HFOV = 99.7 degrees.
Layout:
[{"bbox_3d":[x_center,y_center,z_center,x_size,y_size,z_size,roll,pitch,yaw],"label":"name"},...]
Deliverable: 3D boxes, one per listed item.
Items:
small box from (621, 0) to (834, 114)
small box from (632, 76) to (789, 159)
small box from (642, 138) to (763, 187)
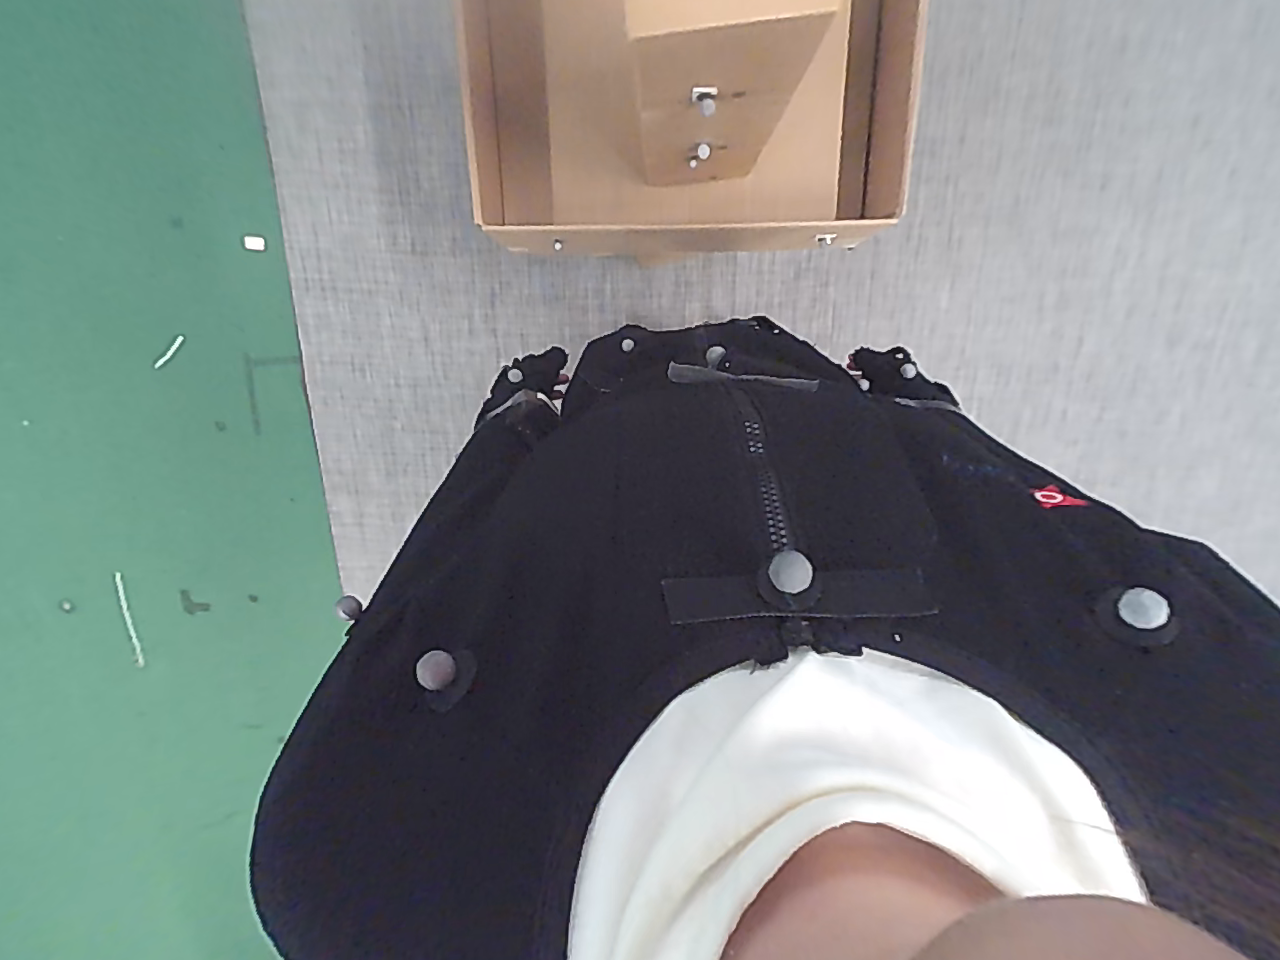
[{"bbox_3d":[0.065,-0.458,0.474,0.168,0.176,0.179,-4,106,5],"label":"small box"},{"bbox_3d":[0.072,-0.502,0.629,0.168,0.176,0.179,-4,106,4],"label":"small box"},{"bbox_3d":[0.082,-0.551,0.785,0.168,0.176,0.179,-4,105,5],"label":"small box"}]
